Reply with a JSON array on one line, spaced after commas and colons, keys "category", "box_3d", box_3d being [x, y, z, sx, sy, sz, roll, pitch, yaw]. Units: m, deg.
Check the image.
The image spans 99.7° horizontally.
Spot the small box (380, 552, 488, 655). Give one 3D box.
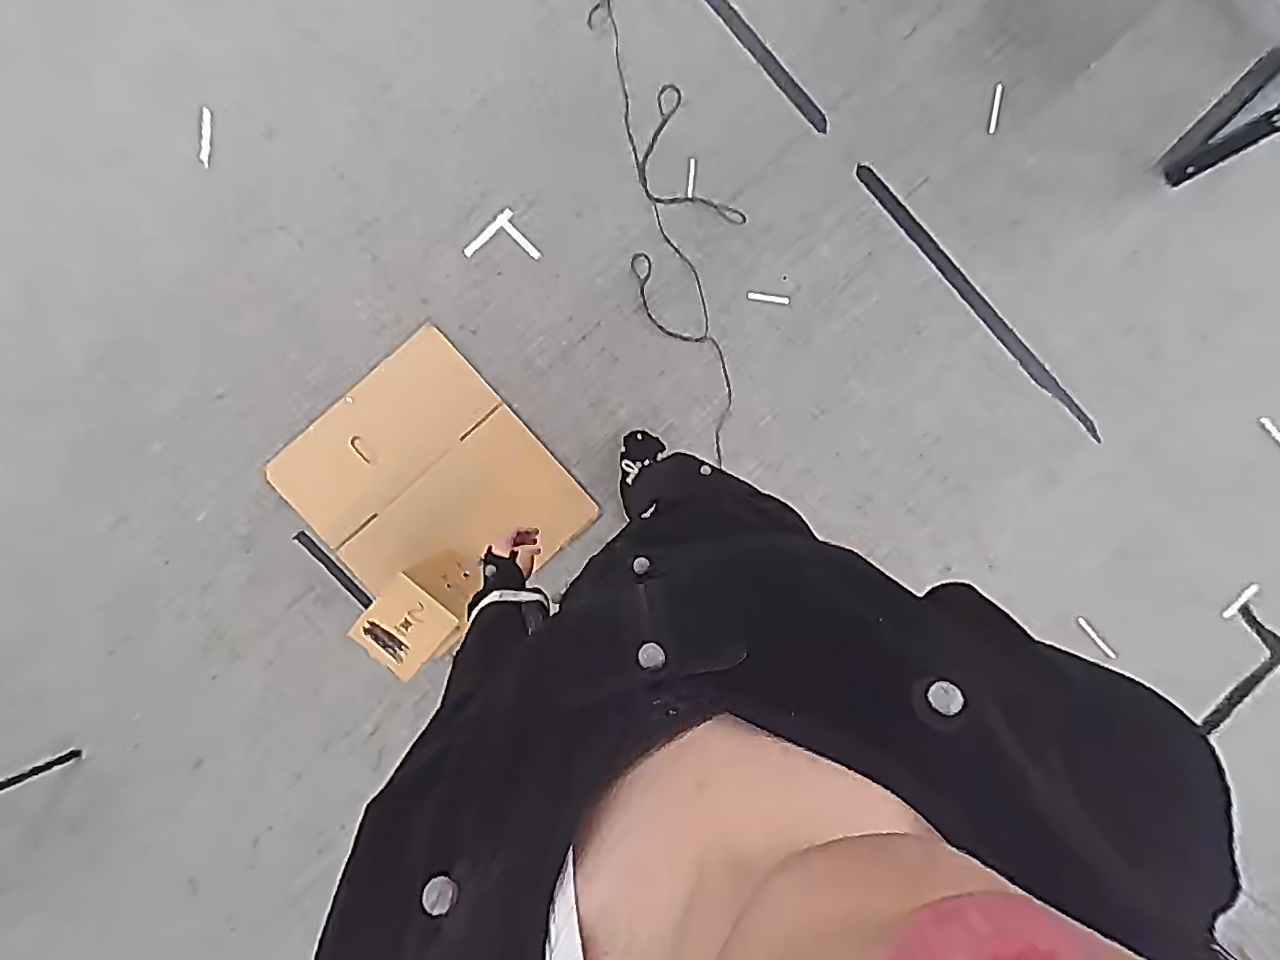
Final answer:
[{"category": "small box", "box_3d": [-0.513, 0.307, 1.380, 0.168, 0.176, 0.179, 38, 88, -3]}]
